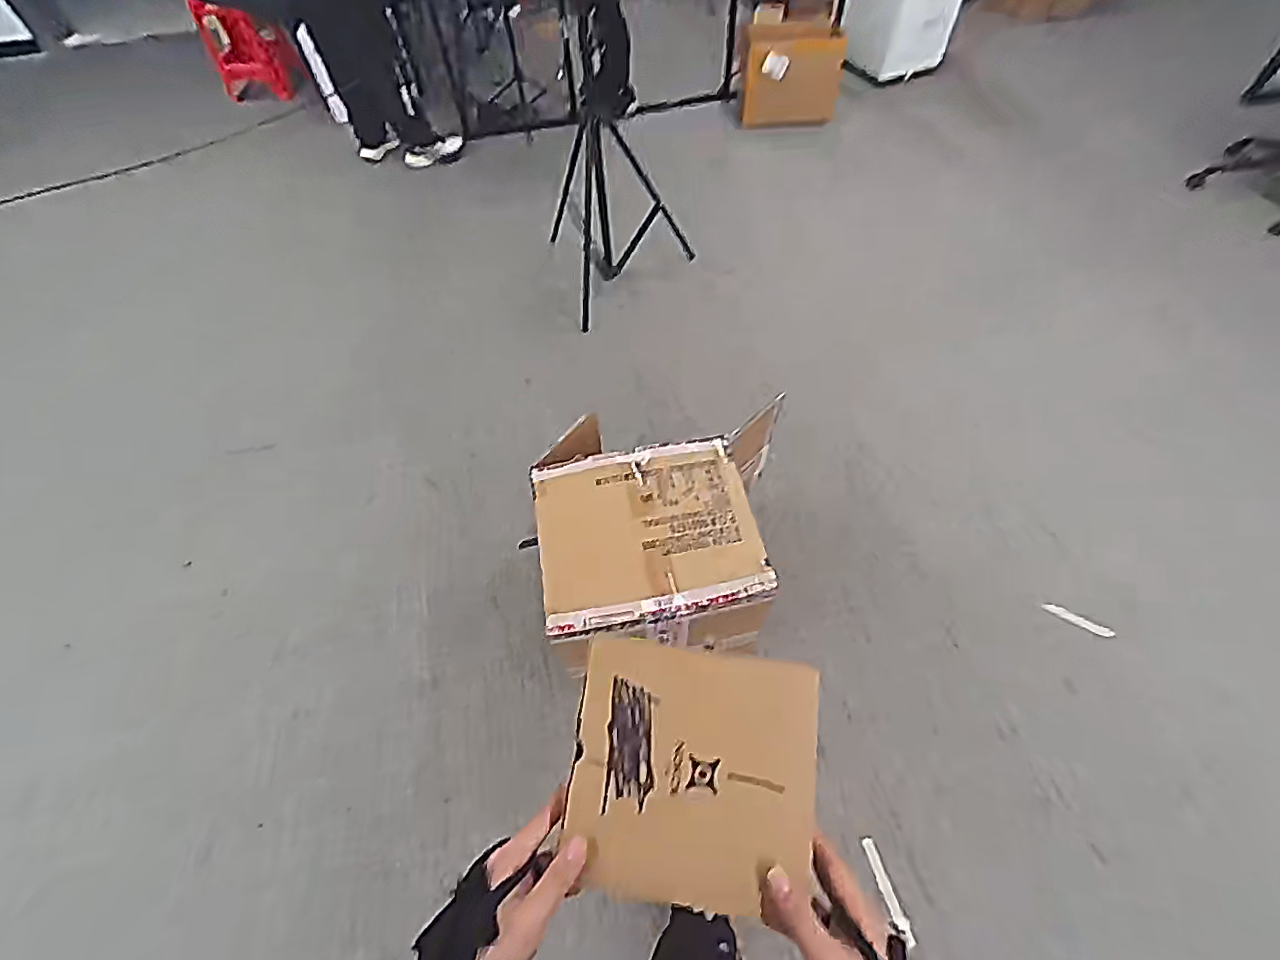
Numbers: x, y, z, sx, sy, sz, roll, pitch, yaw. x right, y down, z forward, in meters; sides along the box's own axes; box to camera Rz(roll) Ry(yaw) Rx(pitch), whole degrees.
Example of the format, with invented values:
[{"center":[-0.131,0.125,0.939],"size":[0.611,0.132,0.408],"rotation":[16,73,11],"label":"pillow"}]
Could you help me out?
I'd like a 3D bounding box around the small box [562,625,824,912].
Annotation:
[{"center":[0.046,0.226,0.466],"size":[0.179,0.176,0.168],"rotation":[7,73,5],"label":"small box"}]
